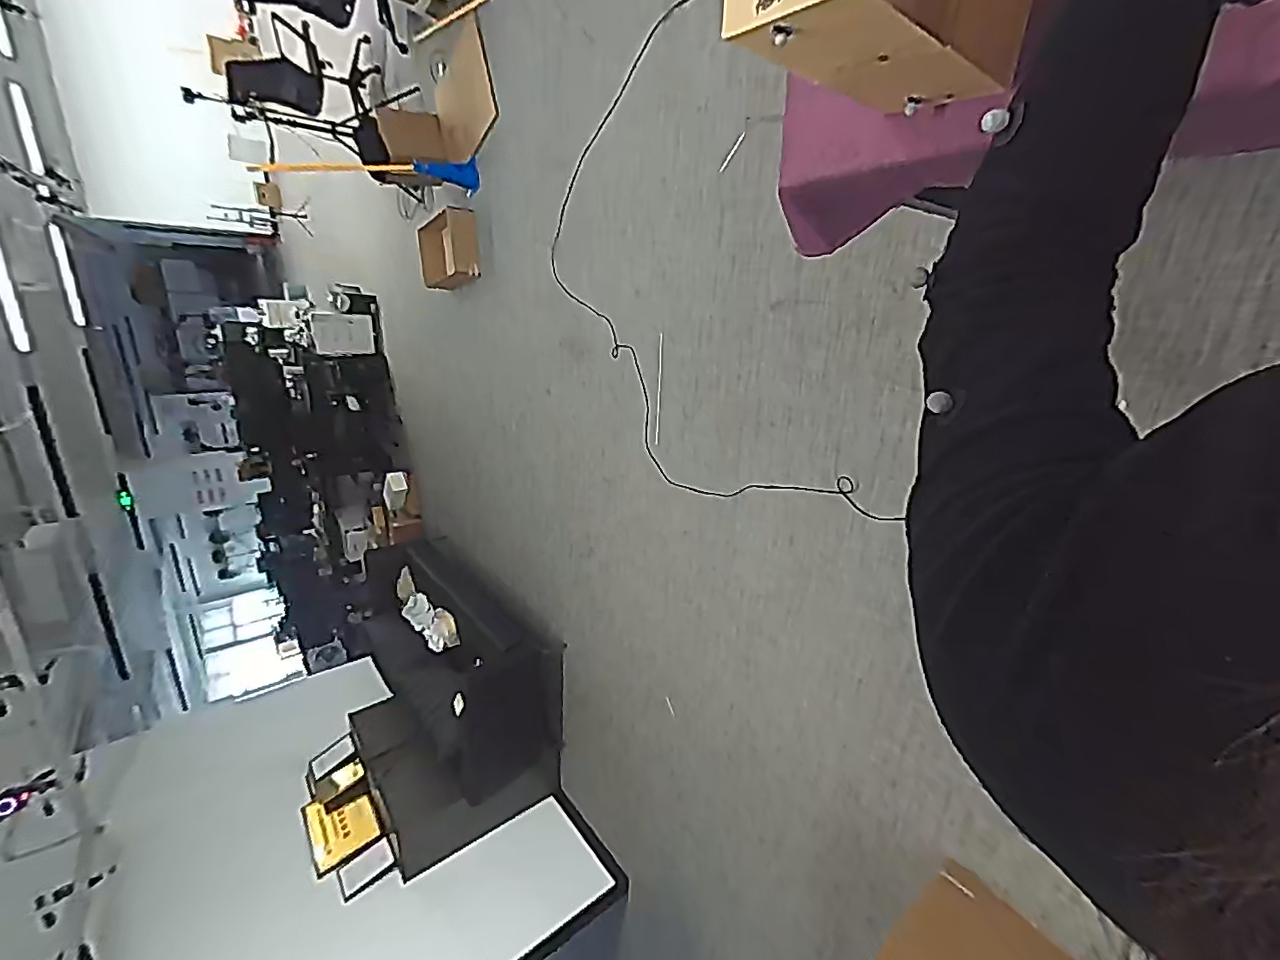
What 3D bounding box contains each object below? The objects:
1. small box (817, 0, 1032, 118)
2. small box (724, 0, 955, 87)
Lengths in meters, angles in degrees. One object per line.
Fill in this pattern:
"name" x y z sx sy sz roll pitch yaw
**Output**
"small box" 0.341 -0.560 0.639 0.168 0.176 0.179 27 120 47
"small box" 0.211 -0.534 0.540 0.168 0.176 0.179 28 119 48
